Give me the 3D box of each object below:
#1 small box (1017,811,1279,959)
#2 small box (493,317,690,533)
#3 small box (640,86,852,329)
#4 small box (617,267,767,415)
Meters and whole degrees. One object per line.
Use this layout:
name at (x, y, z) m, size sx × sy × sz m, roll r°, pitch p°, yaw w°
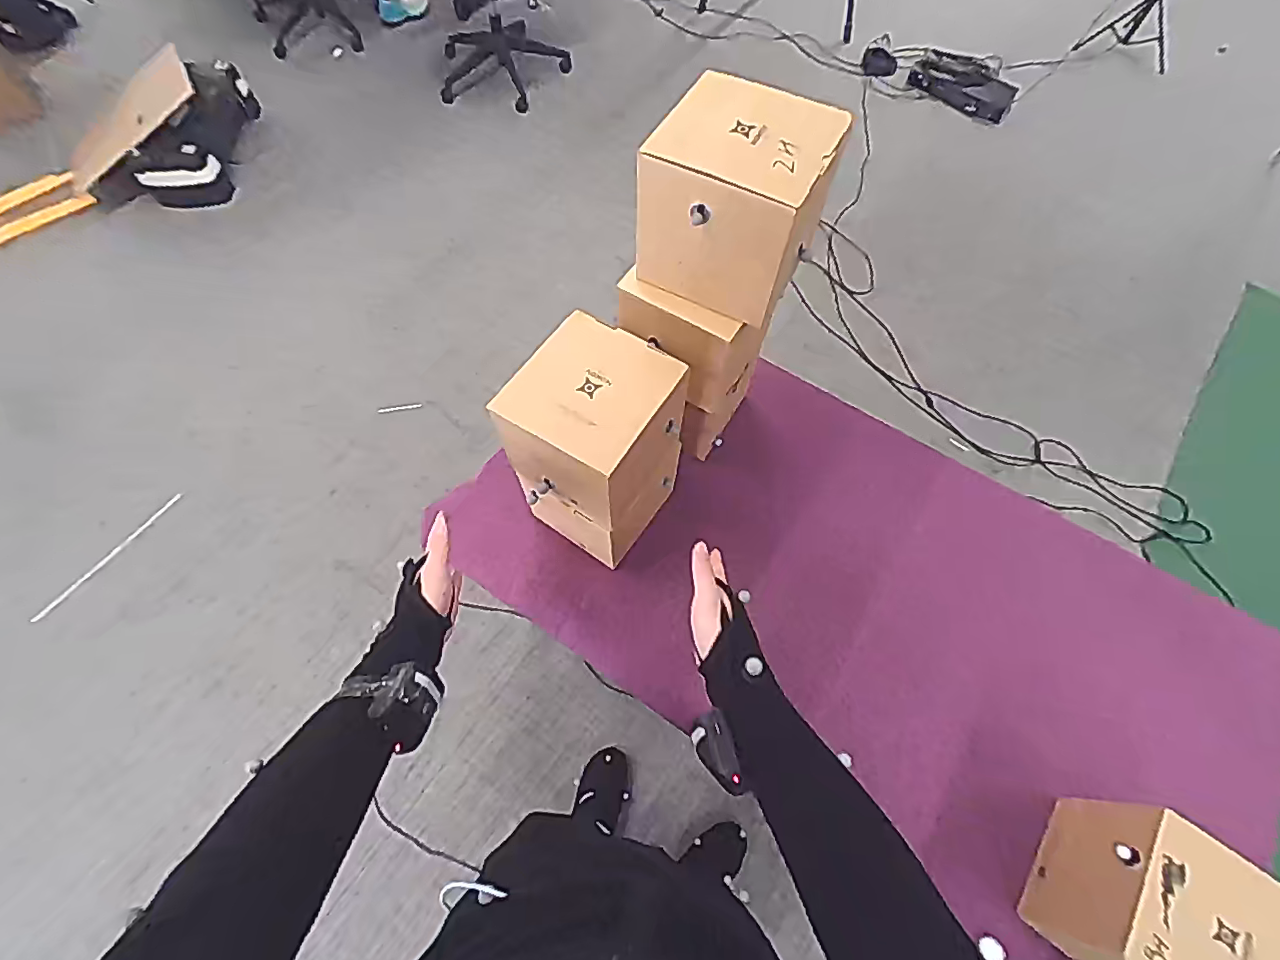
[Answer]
small box at (0.583, 0.504, 0.606) m, size 0.179 × 0.176 × 0.168 m, roll 36°, pitch 67°, yaw 15°
small box at (-0.057, -0.064, 0.691) m, size 0.168 × 0.176 × 0.179 m, roll 31°, pitch 67°, yaw 13°
small box at (0.111, -0.309, 0.633) m, size 0.179 × 0.176 × 0.168 m, roll 27°, pitch 67°, yaw 11°
small box at (0.084, -0.224, 0.773) m, size 0.168 × 0.176 × 0.179 m, roll 30°, pitch 67°, yaw 13°
